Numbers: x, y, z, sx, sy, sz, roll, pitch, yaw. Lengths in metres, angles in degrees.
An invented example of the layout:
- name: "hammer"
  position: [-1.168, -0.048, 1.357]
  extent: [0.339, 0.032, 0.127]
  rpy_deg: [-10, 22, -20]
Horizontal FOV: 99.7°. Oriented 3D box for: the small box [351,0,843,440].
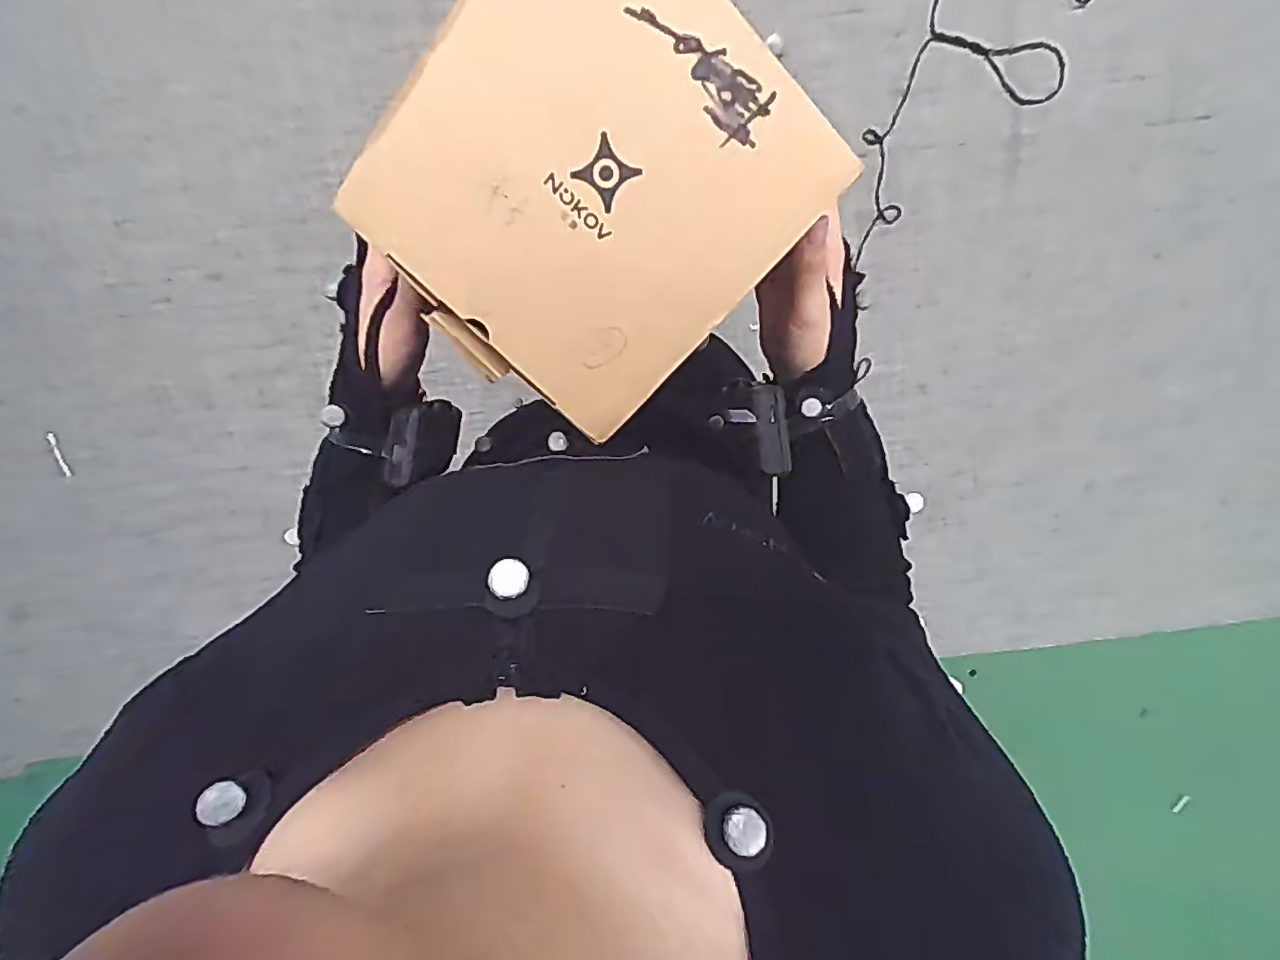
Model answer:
- name: "small box"
  position: [-0.019, -0.158, 0.324]
  extent: [0.168, 0.176, 0.179]
  rpy_deg: [41, 108, -14]
